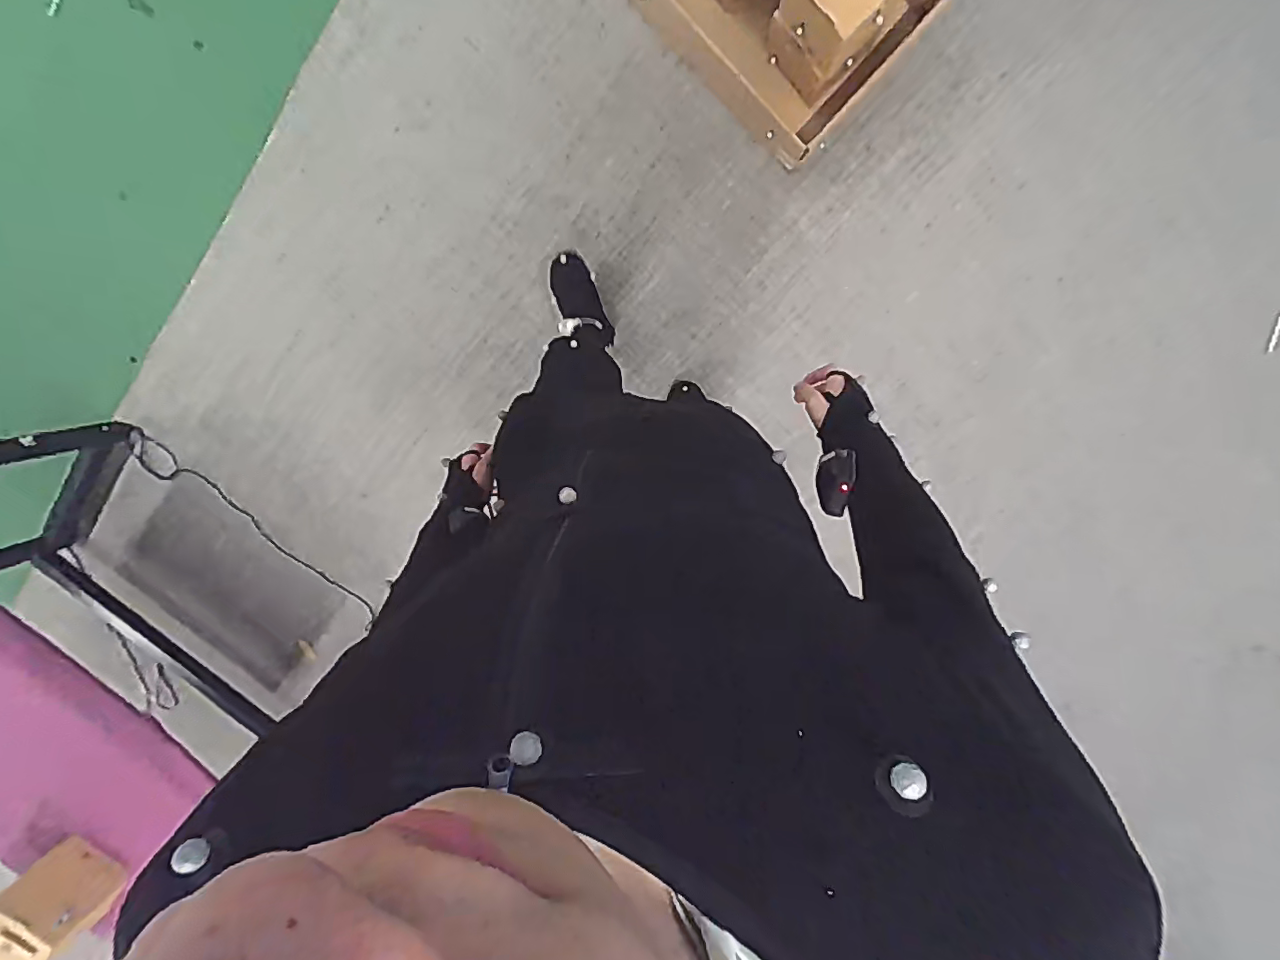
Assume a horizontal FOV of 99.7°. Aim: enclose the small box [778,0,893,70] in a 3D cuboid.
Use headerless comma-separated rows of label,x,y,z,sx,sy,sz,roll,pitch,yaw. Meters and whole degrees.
small box,0.380,-0.933,1.012,0.179,0.176,0.168,-40,99,17
